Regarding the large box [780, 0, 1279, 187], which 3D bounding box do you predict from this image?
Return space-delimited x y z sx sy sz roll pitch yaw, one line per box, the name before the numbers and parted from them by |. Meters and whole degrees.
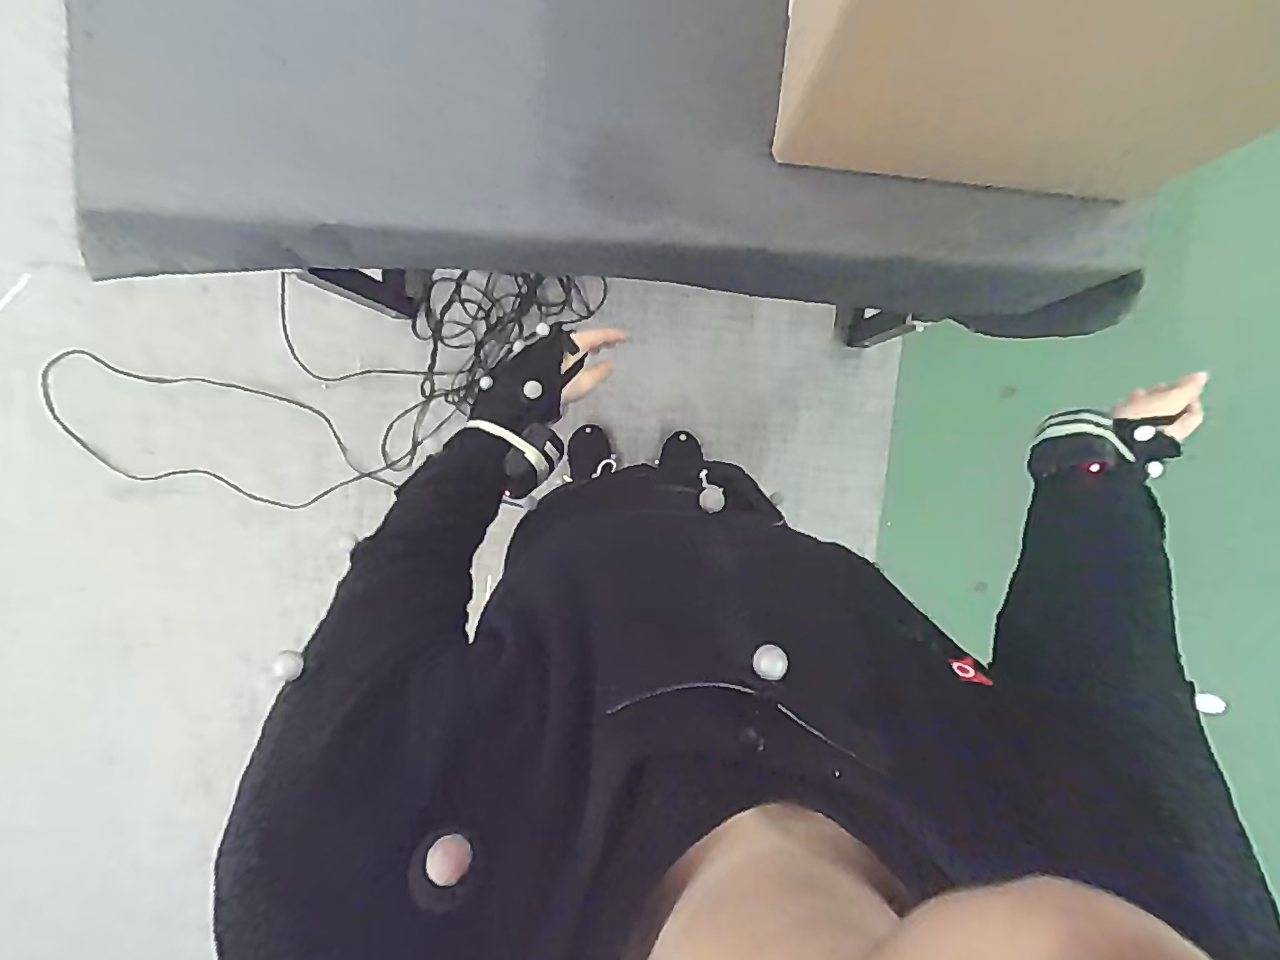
large box | 0.360 -0.475 0.435 0.408 0.320 0.320 6 96 -1
